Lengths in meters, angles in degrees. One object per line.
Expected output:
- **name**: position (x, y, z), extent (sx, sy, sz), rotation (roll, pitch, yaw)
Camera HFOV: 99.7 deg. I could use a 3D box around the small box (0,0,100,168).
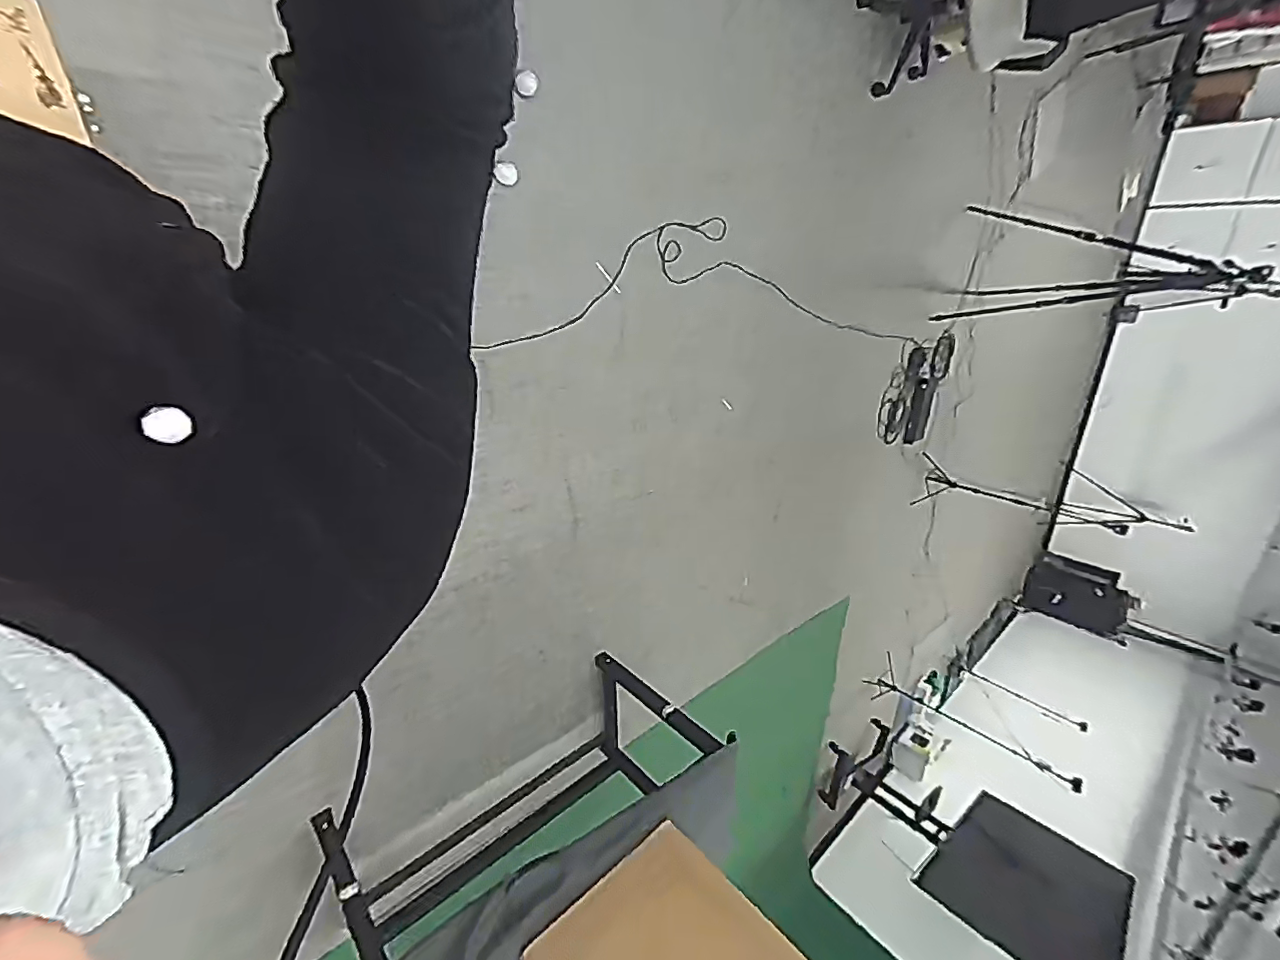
- **small box**: position (-0.837, -0.503, 0.684), extent (0.179, 0.176, 0.168), rotation (-20, 118, -35)
